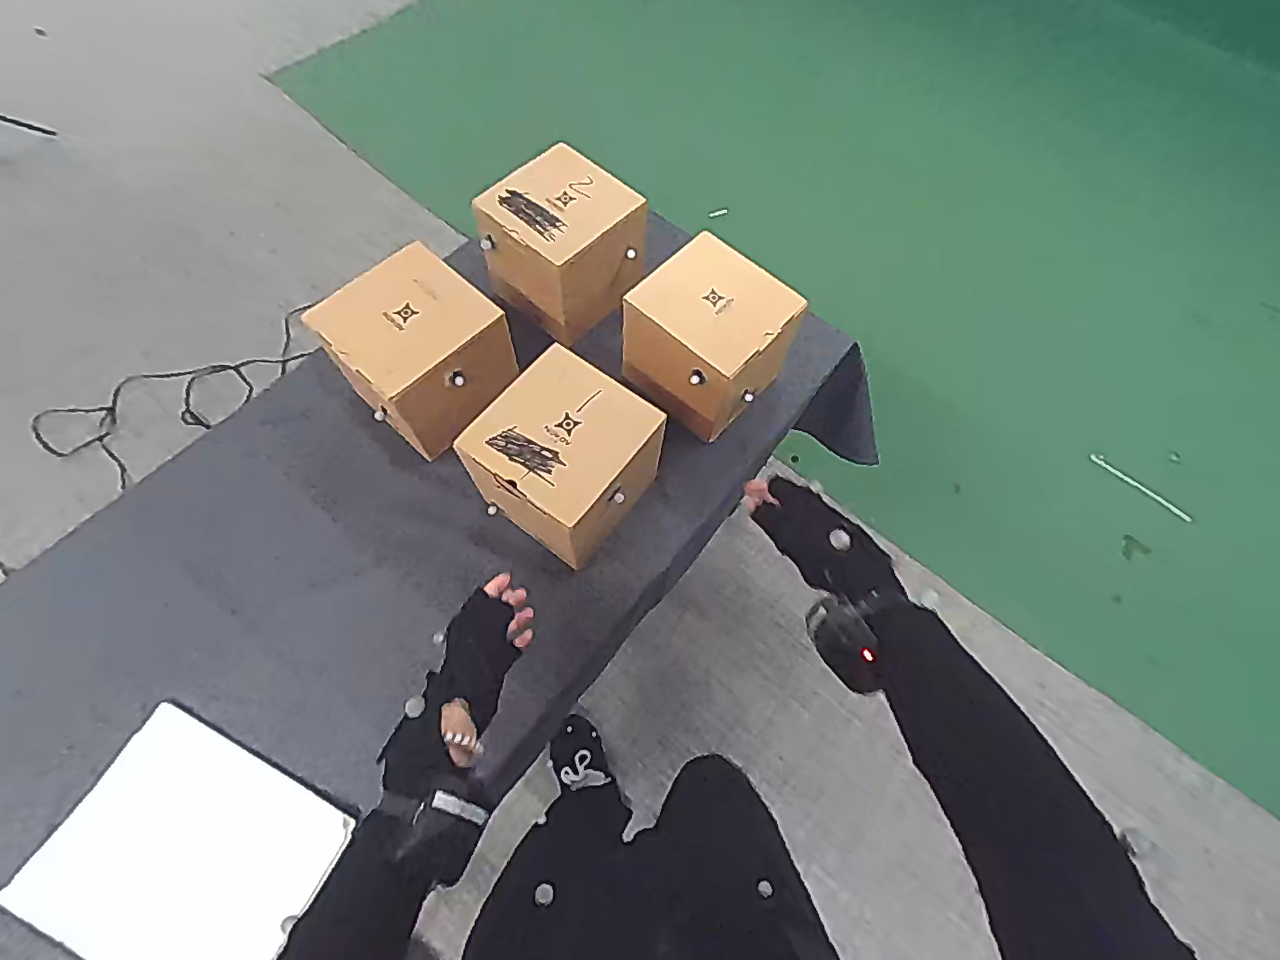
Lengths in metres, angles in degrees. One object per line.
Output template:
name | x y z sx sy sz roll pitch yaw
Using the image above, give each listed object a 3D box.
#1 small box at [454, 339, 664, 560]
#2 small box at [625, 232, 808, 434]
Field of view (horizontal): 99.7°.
small box | -0.089 -0.028 0.662 0.168 0.176 0.179 35 68 11
small box | 0.092 -0.195 0.751 0.179 0.176 0.168 41 70 13
